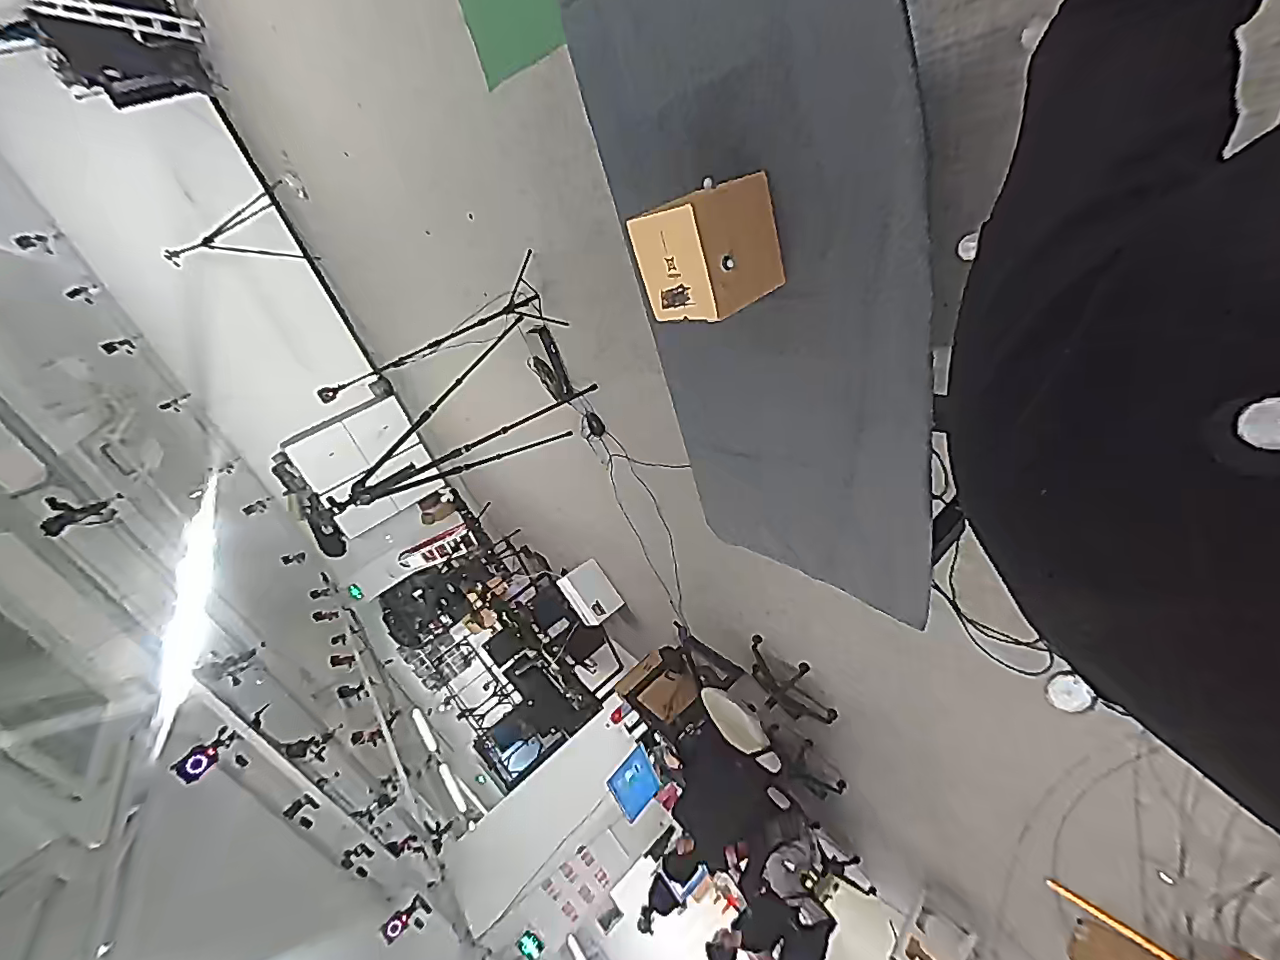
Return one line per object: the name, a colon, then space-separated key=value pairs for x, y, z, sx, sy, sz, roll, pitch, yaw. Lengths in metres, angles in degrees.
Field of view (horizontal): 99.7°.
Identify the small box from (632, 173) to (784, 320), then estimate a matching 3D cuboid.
small box: x=0.121 y=-0.386 z=0.912 sx=0.168 sy=0.176 sz=0.179 roll=20 pitch=138 yaw=51
